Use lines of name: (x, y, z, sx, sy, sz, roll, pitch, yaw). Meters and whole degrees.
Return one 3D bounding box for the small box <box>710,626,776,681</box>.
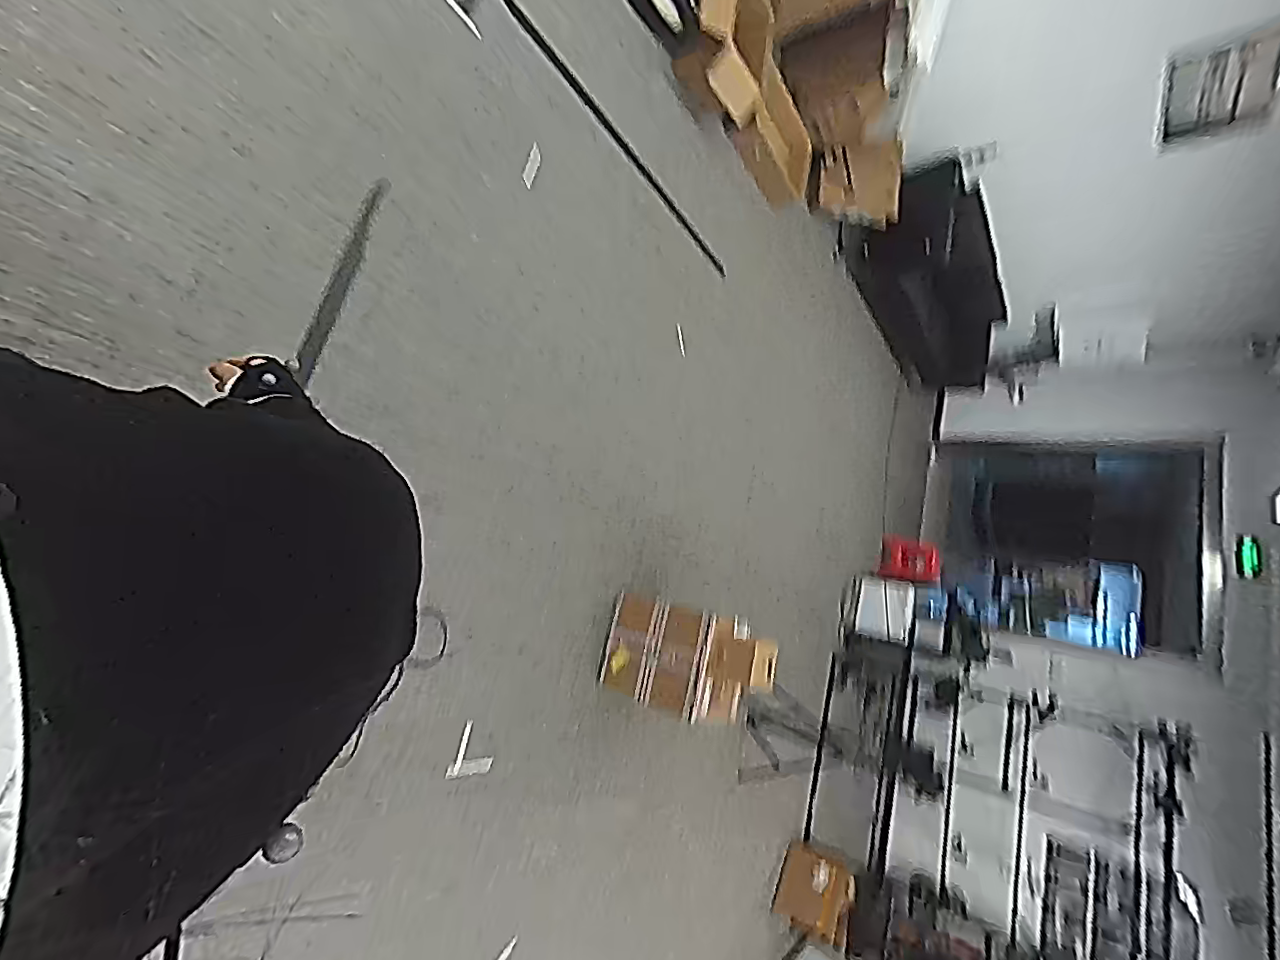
small box: (0.395, 0.660, 2.063, 0.179, 0.176, 0.168, 24, 74, -45)
